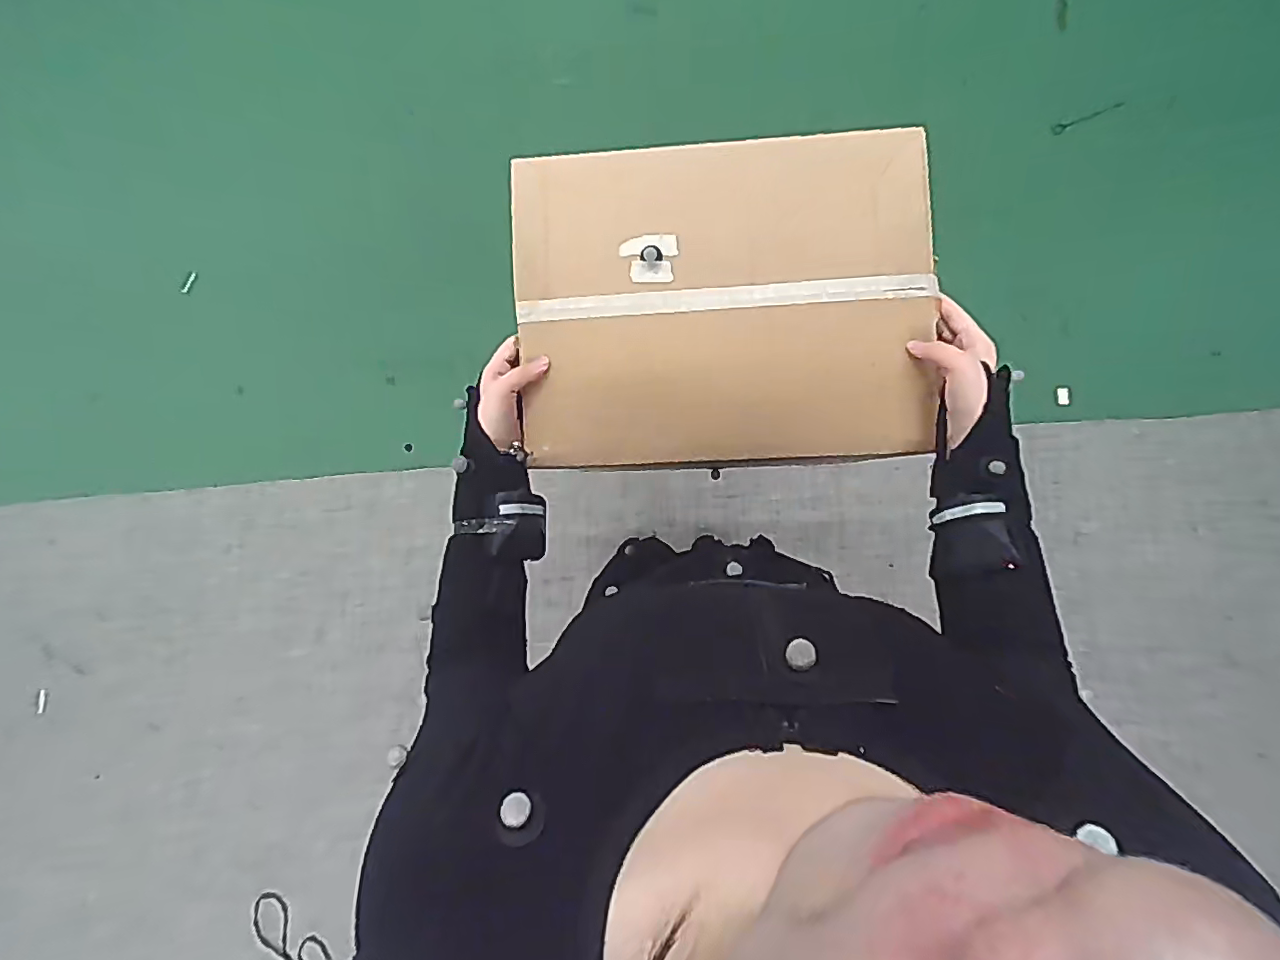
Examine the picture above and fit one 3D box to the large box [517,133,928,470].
[{"bbox_3d":[0.092,-0.176,0.692,0.408,0.320,0.320,-3,89,6],"label":"large box"}]
